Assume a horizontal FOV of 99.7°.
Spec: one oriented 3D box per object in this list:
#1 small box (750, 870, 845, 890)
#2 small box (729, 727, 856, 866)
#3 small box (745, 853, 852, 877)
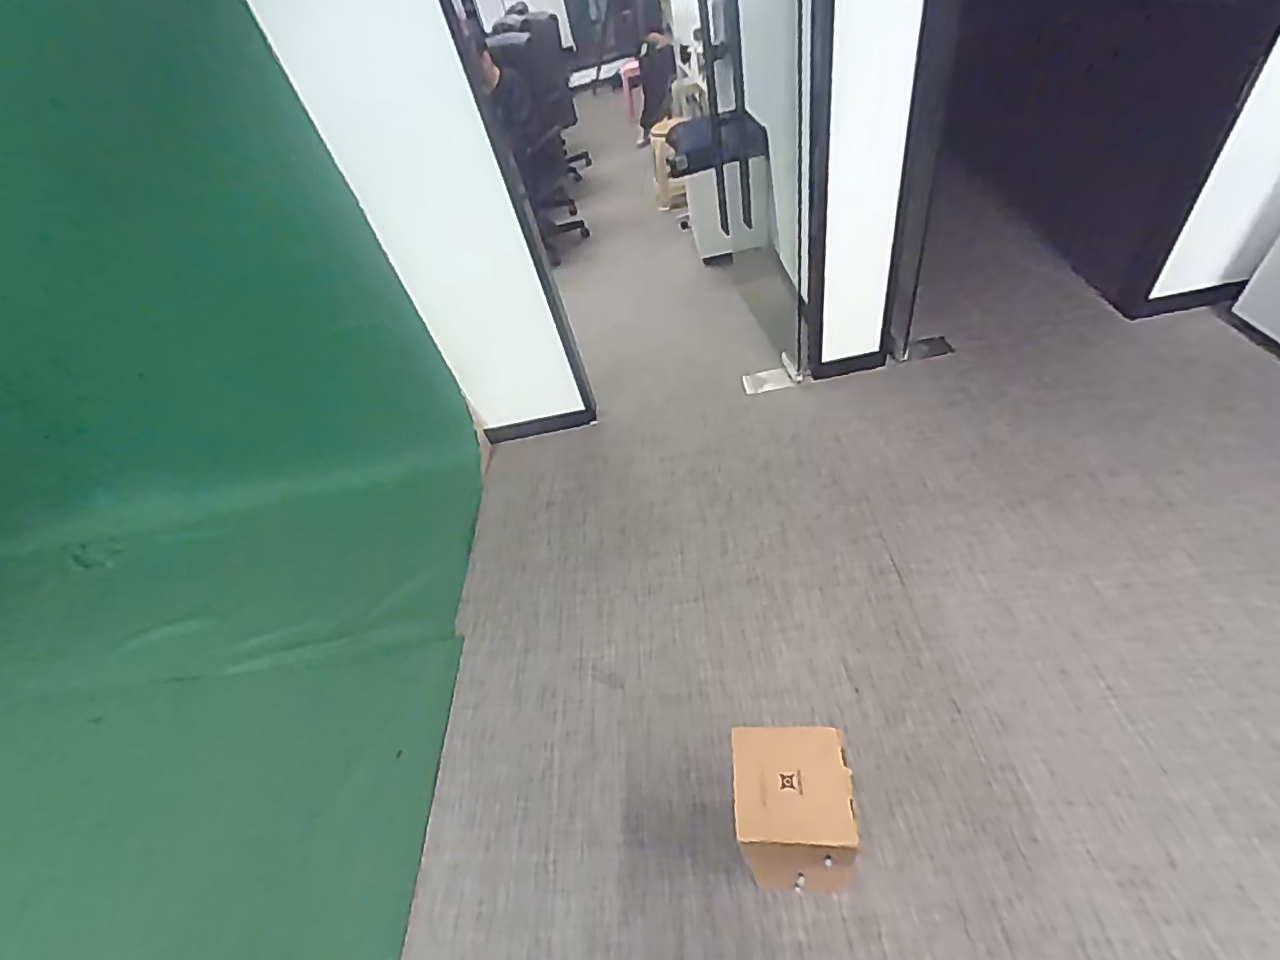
[{"bbox_3d":[0.318,0.739,1.127,0.179,0.176,0.168,-7,45,12],"label":"small box"},{"bbox_3d":[0.246,0.523,0.894,0.179,0.176,0.168,-7,45,12],"label":"small box"},{"bbox_3d":[0.283,0.632,1.012,0.179,0.176,0.168,-8,47,10],"label":"small box"}]
